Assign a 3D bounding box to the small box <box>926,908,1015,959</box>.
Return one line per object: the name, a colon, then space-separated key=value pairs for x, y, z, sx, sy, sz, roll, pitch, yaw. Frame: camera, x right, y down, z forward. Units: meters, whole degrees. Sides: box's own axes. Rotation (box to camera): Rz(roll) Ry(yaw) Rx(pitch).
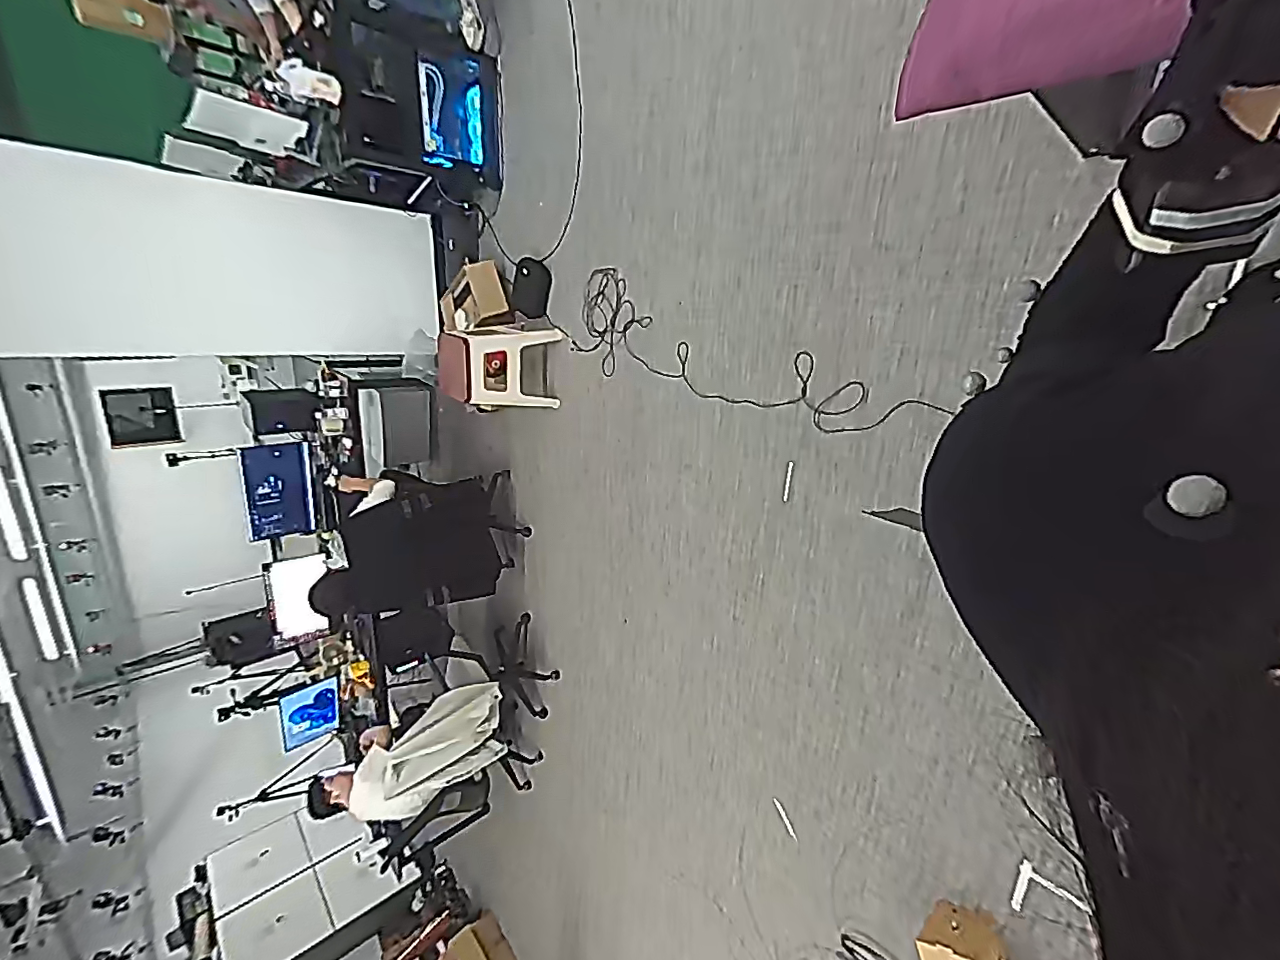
small box: x=0.944 y=1.372 z=1.528 sx=0.168 sy=0.176 sz=0.179 roll=-20 pitch=84 yaw=49
